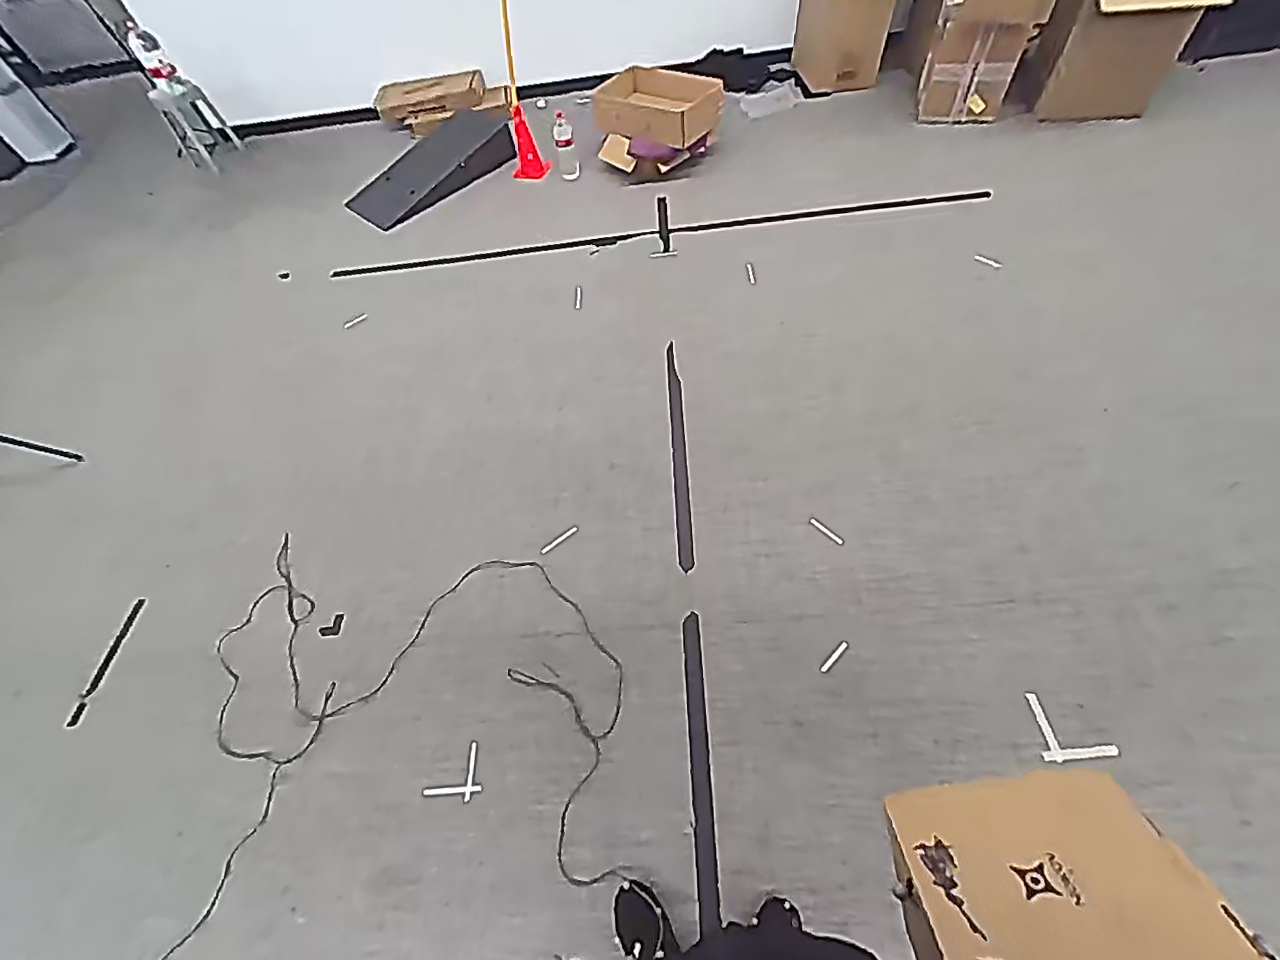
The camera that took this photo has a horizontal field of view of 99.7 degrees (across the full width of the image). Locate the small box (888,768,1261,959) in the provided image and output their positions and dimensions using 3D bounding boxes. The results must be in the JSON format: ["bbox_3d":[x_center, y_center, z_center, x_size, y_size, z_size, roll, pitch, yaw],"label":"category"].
[{"bbox_3d":[0.311,0.358,0.411,0.179,0.176,0.168,-13,18,10],"label":"small box"}]
